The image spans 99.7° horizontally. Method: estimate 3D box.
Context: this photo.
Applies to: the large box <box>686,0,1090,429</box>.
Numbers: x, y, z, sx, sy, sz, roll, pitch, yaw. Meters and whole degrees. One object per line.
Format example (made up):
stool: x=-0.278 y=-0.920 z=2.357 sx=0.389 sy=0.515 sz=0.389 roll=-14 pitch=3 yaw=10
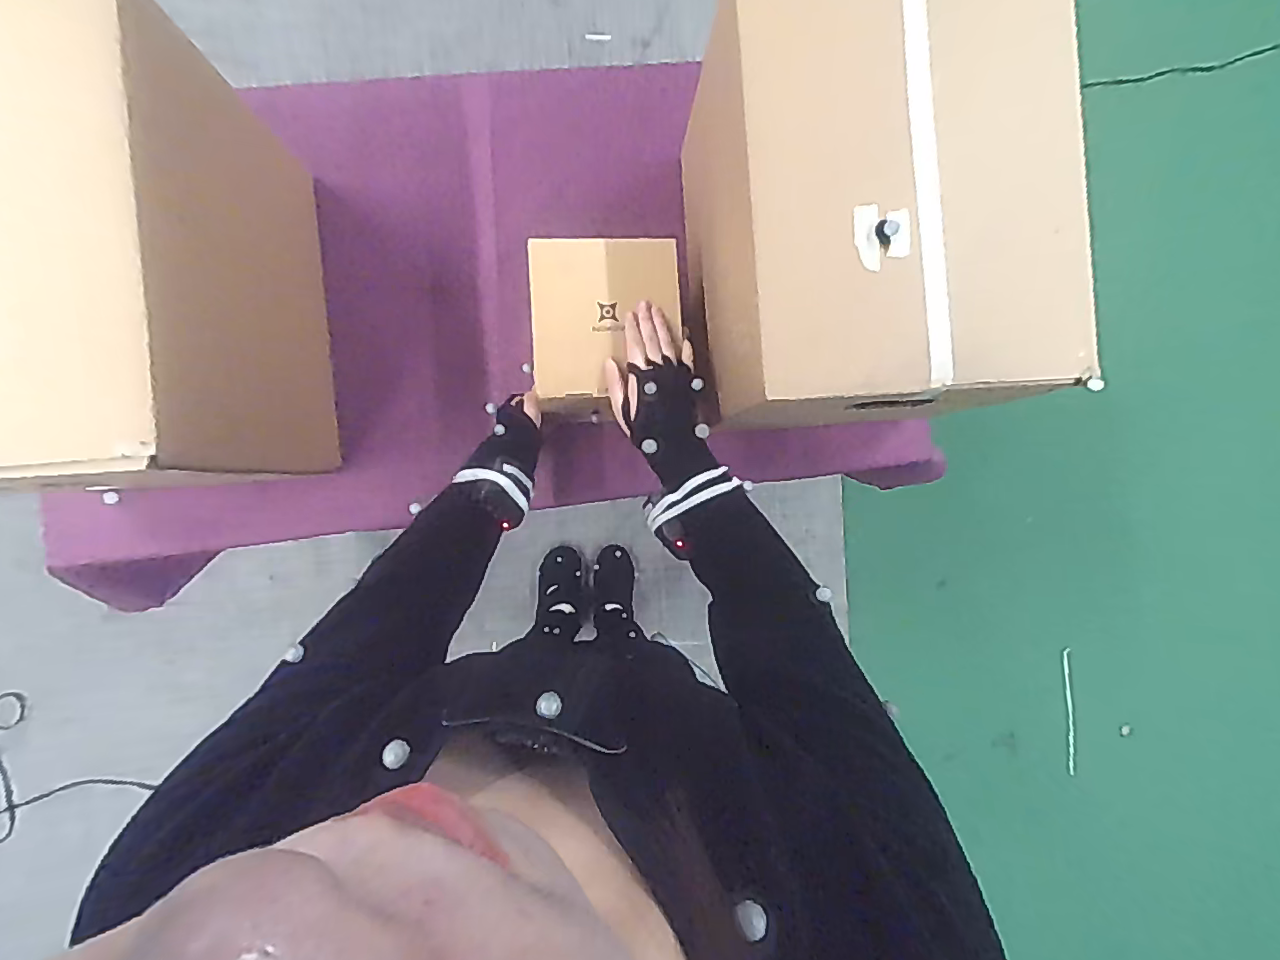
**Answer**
large box: x=0.245 y=-0.279 z=0.640 sx=0.320 sy=0.320 sz=0.408 roll=-3 pitch=91 yaw=-5
